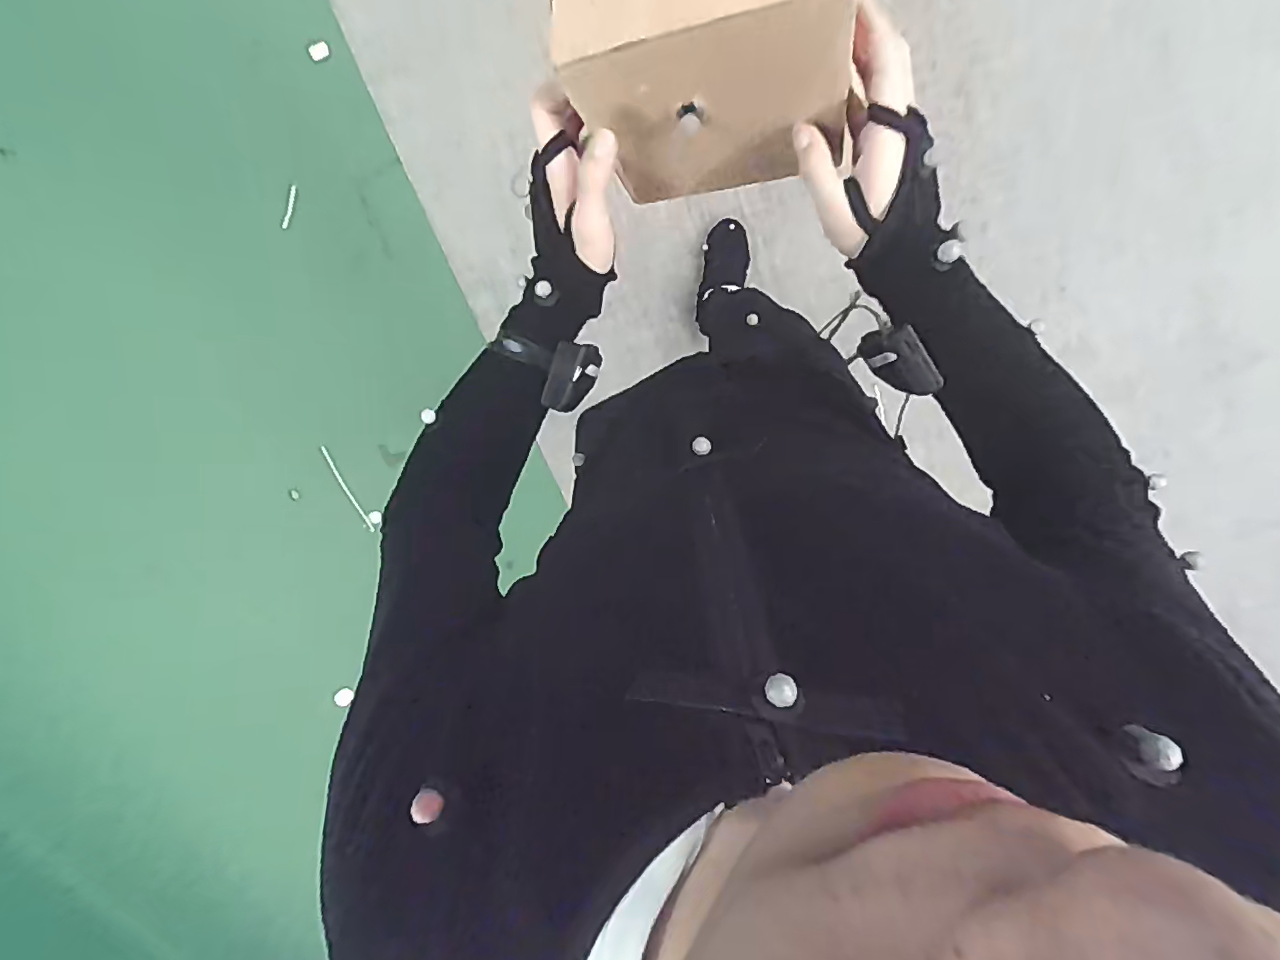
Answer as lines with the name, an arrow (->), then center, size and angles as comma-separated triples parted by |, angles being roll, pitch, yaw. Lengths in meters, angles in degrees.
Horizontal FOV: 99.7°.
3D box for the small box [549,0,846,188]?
small box -> 0.052, -0.339, 0.386 | 0.179, 0.176, 0.168 | -1, 89, 20
